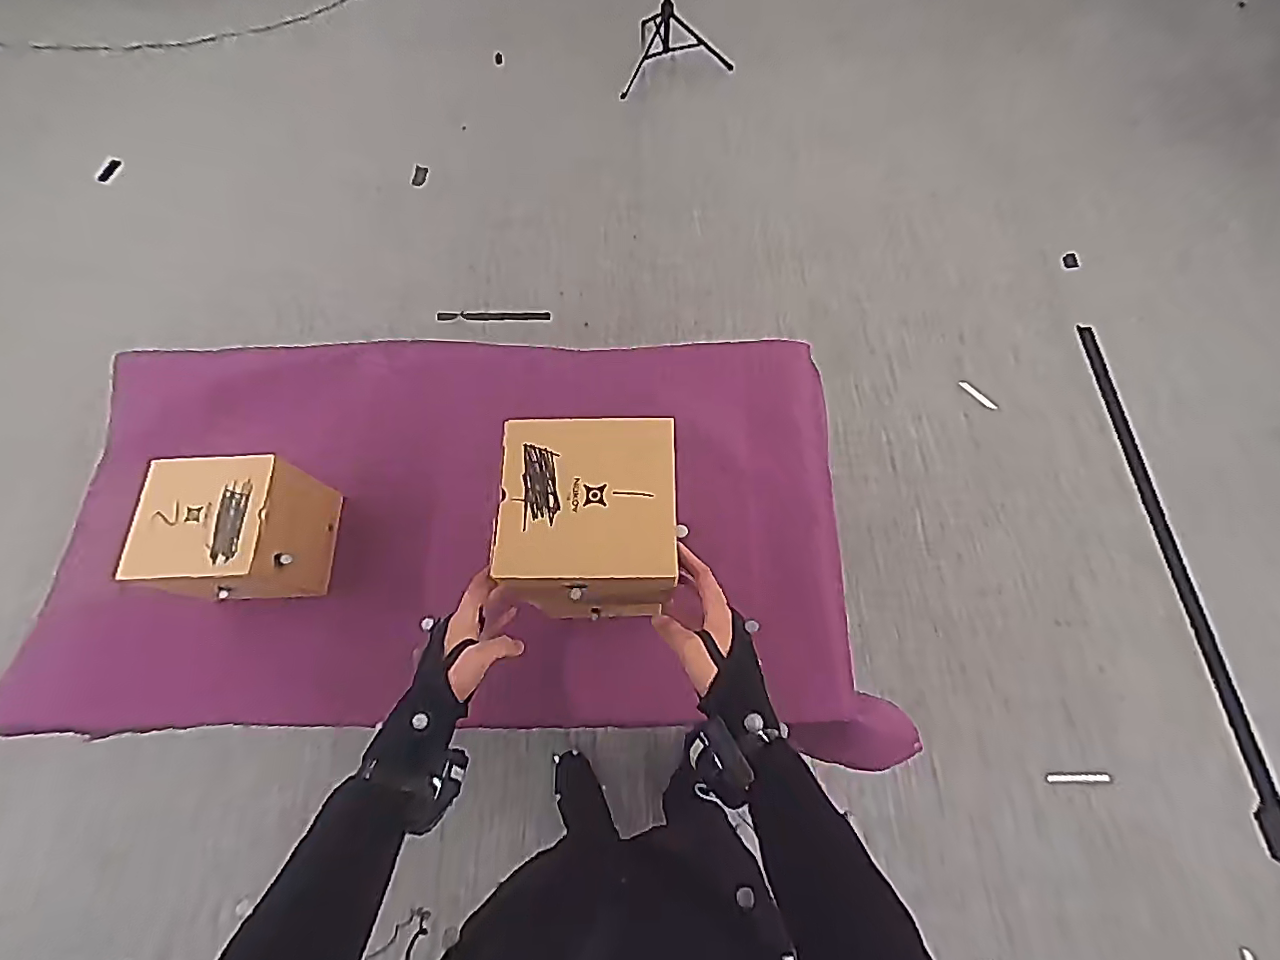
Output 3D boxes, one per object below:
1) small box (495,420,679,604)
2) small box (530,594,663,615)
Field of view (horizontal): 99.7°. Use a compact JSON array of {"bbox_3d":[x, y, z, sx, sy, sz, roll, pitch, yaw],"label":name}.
[{"bbox_3d":[-0.046,0.044,0.605,0.179,0.176,0.168,0,69,1],"label":"small box"},{"bbox_3d":[-0.051,0.094,0.762,0.168,0.176,0.179,-1,69,1],"label":"small box"}]
